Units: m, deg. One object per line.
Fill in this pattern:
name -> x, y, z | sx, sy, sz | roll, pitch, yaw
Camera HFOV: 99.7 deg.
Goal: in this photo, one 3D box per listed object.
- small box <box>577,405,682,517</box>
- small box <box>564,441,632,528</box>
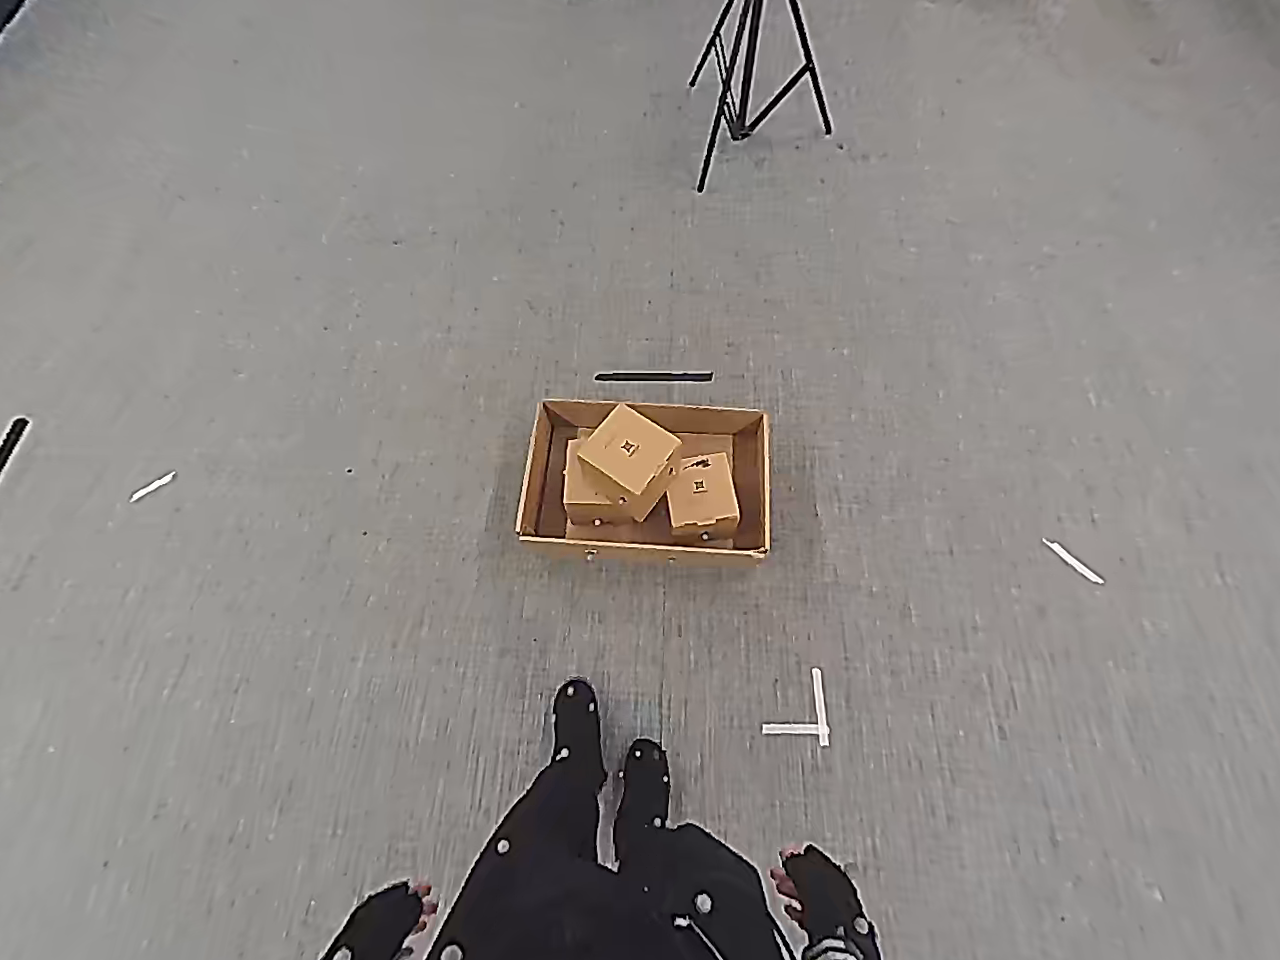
small box -> -0.020, -0.034, 1.256 | 0.179, 0.176, 0.168 | 33, 69, 16
small box -> -0.100, 0.014, 1.414 | 0.168, 0.176, 0.179 | 1, 67, 1
